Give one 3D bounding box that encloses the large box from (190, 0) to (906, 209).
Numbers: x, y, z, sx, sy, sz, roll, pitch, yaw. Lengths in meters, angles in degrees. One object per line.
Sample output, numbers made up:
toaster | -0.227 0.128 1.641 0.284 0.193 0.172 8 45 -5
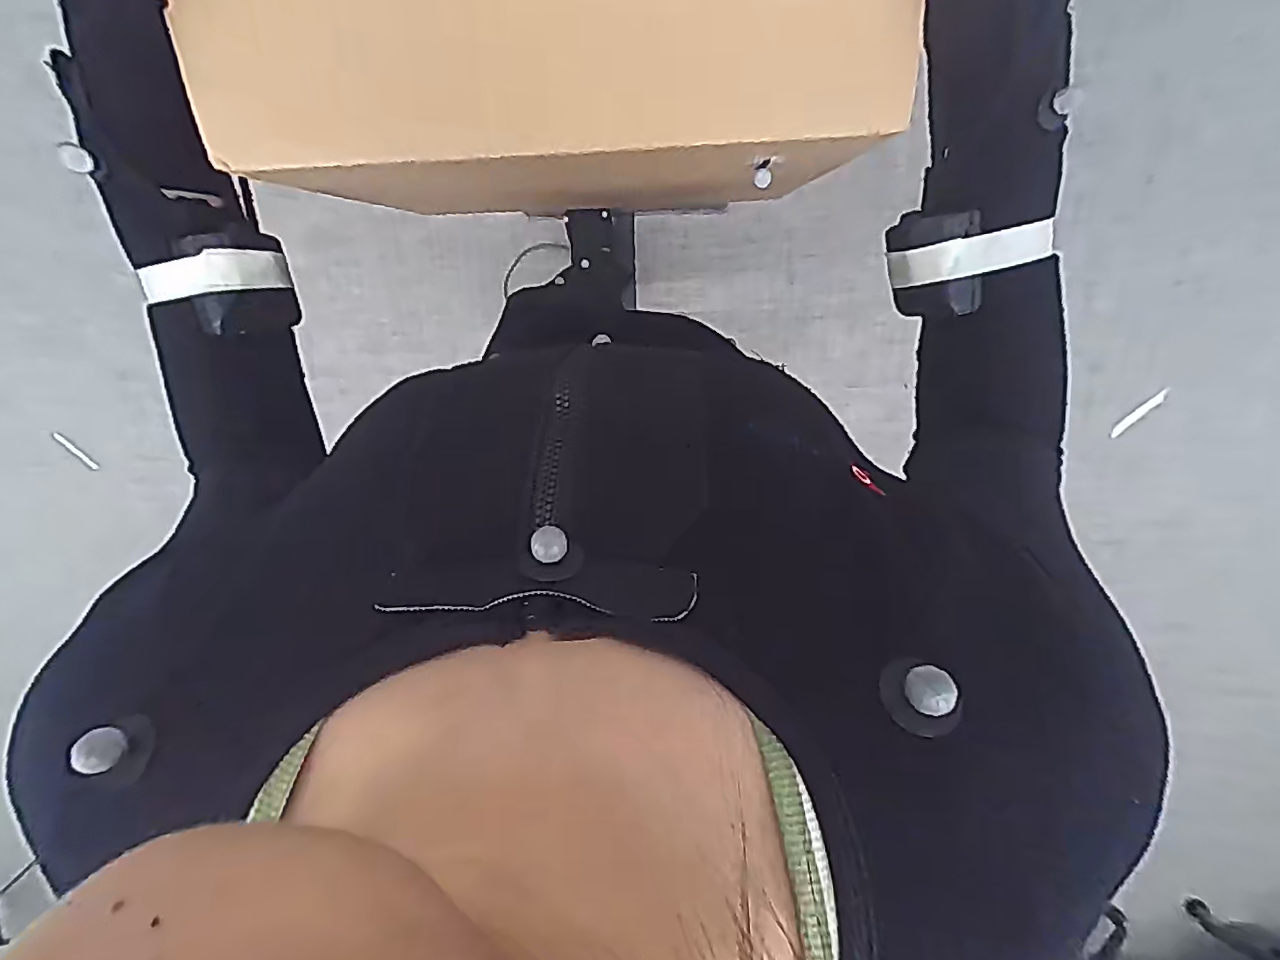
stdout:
large box | -0.052 -0.397 0.407 0.408 0.320 0.320 -2 111 2
